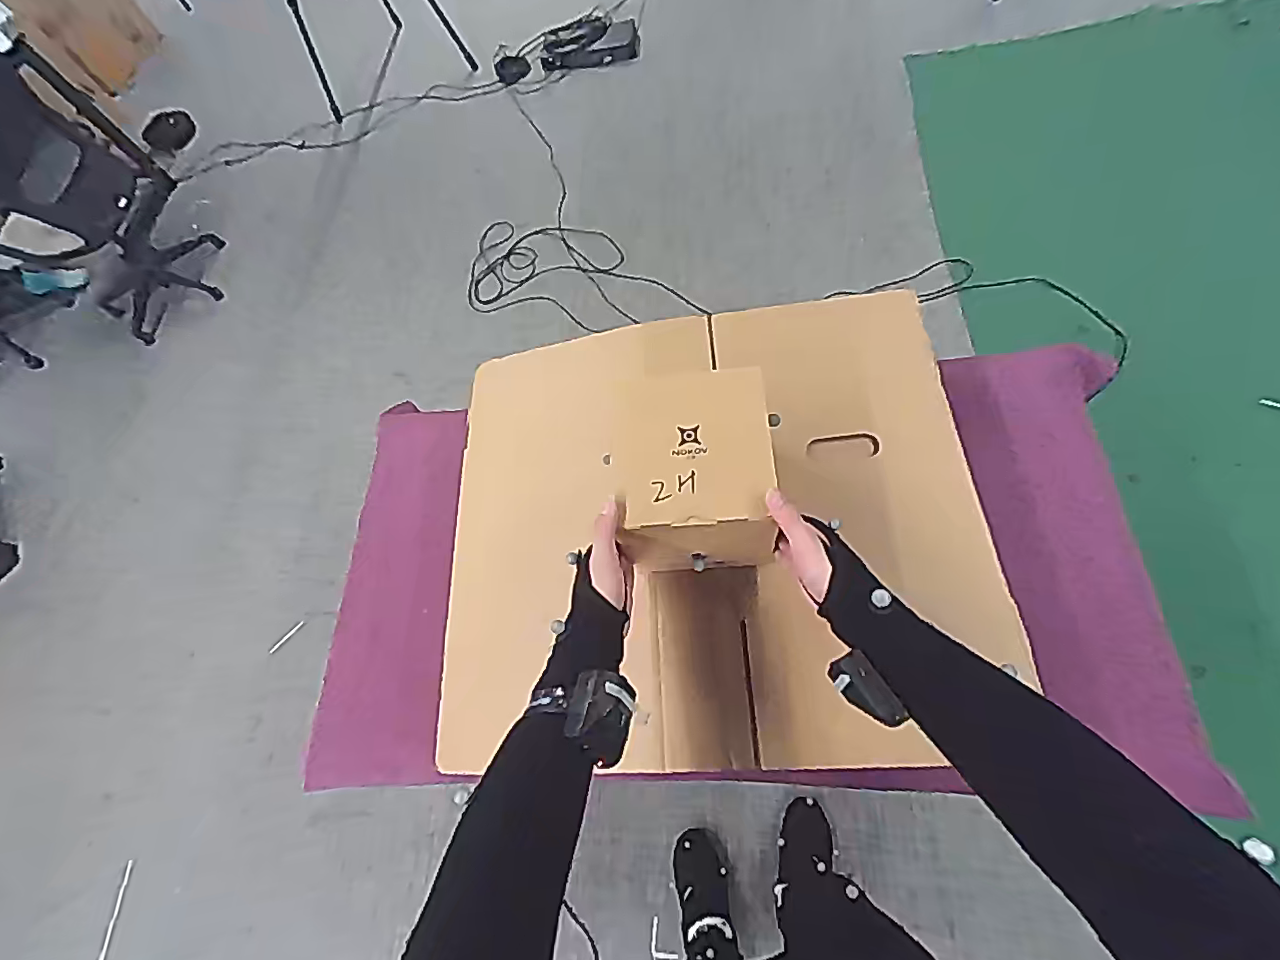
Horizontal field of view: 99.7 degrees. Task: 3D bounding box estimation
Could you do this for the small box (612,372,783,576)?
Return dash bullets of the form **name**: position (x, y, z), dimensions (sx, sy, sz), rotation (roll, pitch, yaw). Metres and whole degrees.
- **small box**: position (0.065, 0.002, 0.619), dimensions (0.168, 0.176, 0.179), rotation (-4, 65, 8)
